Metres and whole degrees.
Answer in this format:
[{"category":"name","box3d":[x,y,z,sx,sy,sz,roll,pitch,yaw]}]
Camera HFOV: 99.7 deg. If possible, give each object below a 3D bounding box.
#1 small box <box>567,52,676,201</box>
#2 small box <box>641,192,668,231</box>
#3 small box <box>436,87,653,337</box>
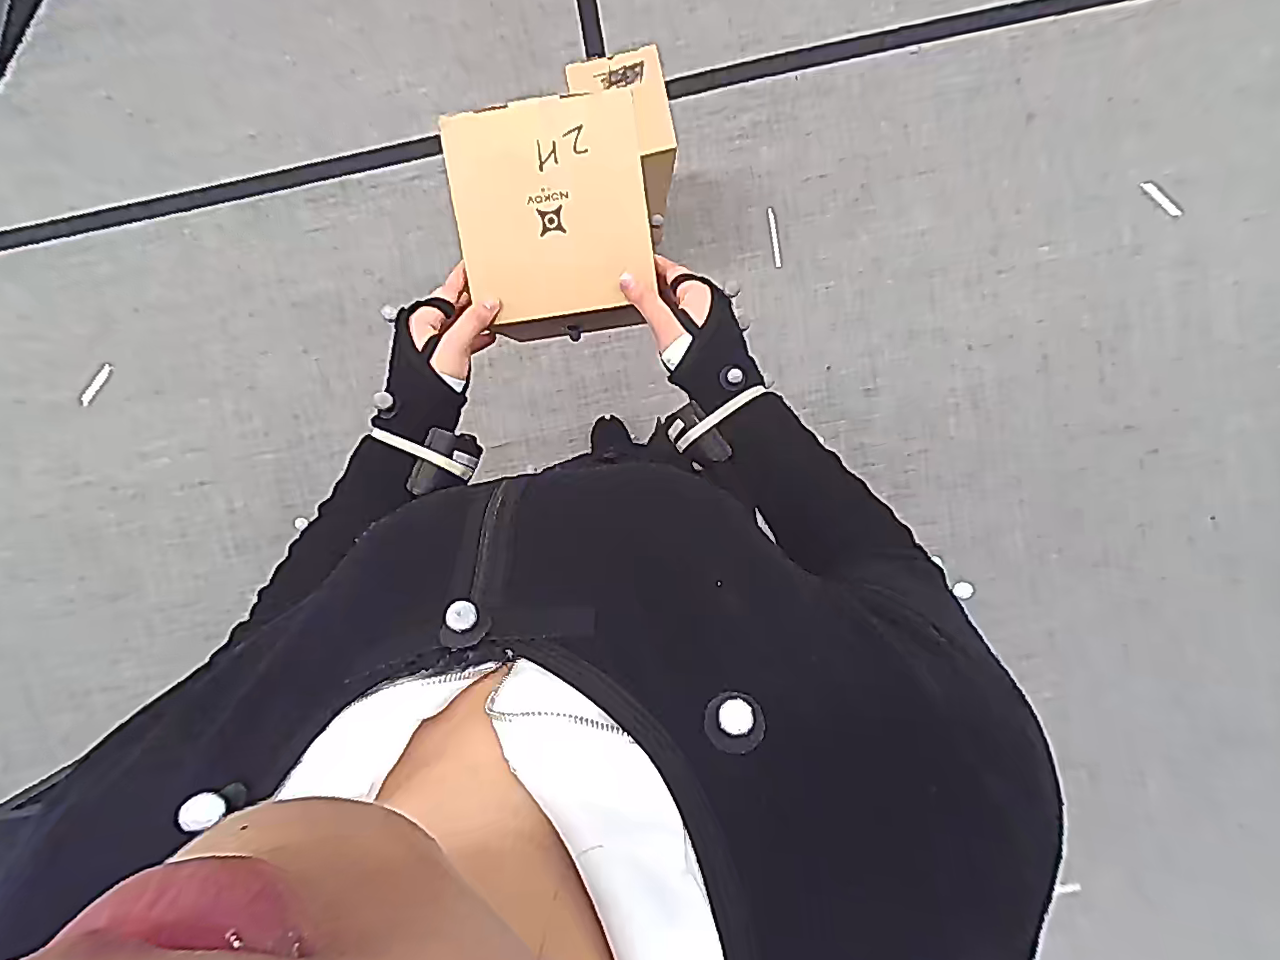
[{"category":"small box","box3d":[-0.034,-0.649,1.024,0.168,0.176,0.179,-13,95,1]},{"category":"small box","box3d":[-0.039,-0.661,1.189,0.168,0.176,0.179,-13,94,1]},{"category":"small box","box3d":[-0.078,-0.244,0.543,0.168,0.176,0.179,-8,99,2]}]
